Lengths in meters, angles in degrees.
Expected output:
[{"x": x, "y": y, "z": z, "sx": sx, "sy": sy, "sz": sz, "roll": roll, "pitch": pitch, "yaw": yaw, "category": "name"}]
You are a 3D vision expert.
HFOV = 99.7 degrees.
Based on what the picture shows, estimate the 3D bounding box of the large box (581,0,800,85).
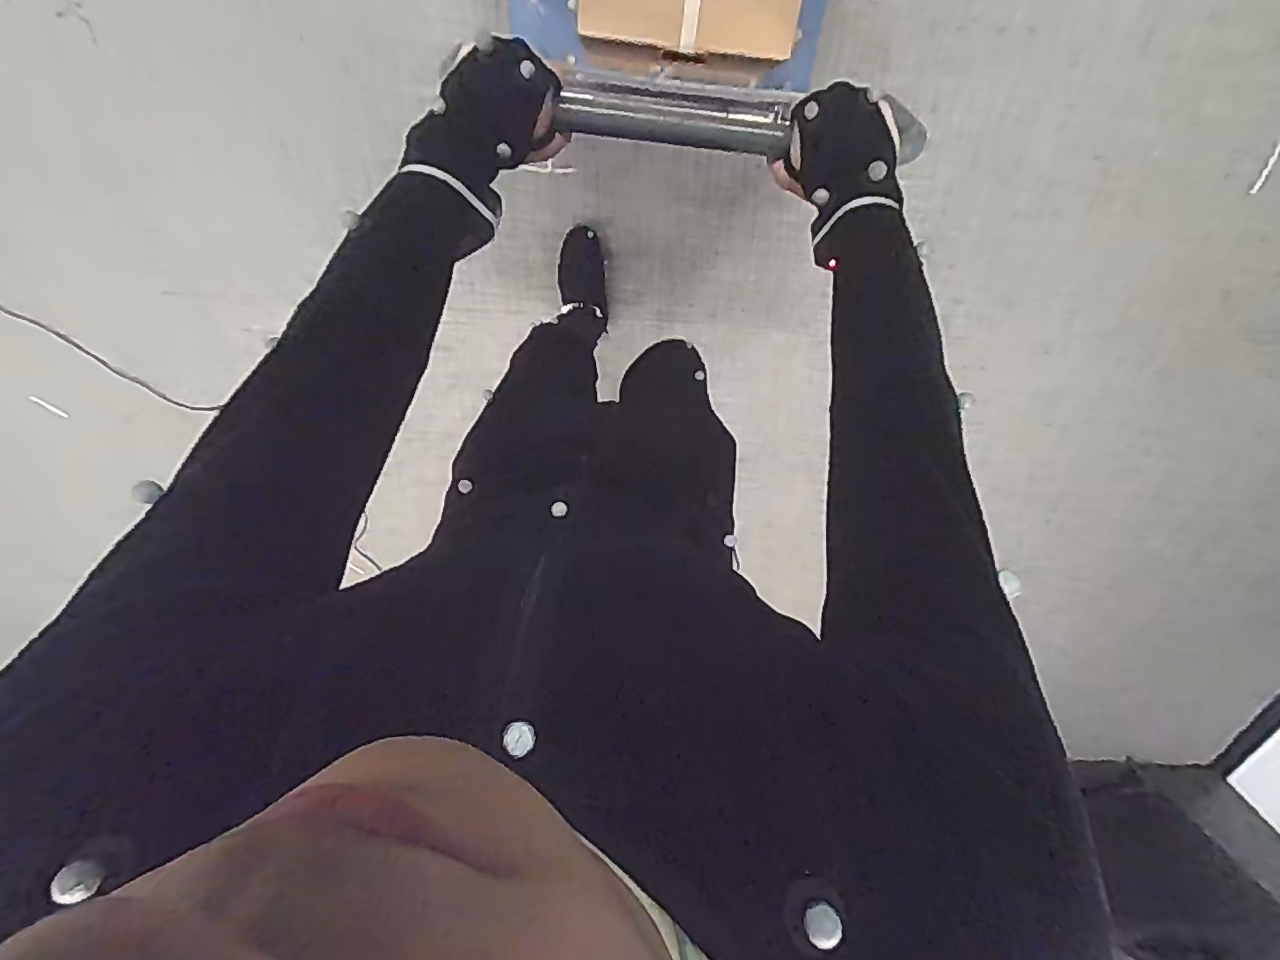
[{"x": 0.084, "y": -0.875, "z": 0.823, "sx": 0.320, "sy": 0.320, "sz": 0.408, "roll": 4, "pitch": 120, "yaw": -4, "category": "large box"}]
